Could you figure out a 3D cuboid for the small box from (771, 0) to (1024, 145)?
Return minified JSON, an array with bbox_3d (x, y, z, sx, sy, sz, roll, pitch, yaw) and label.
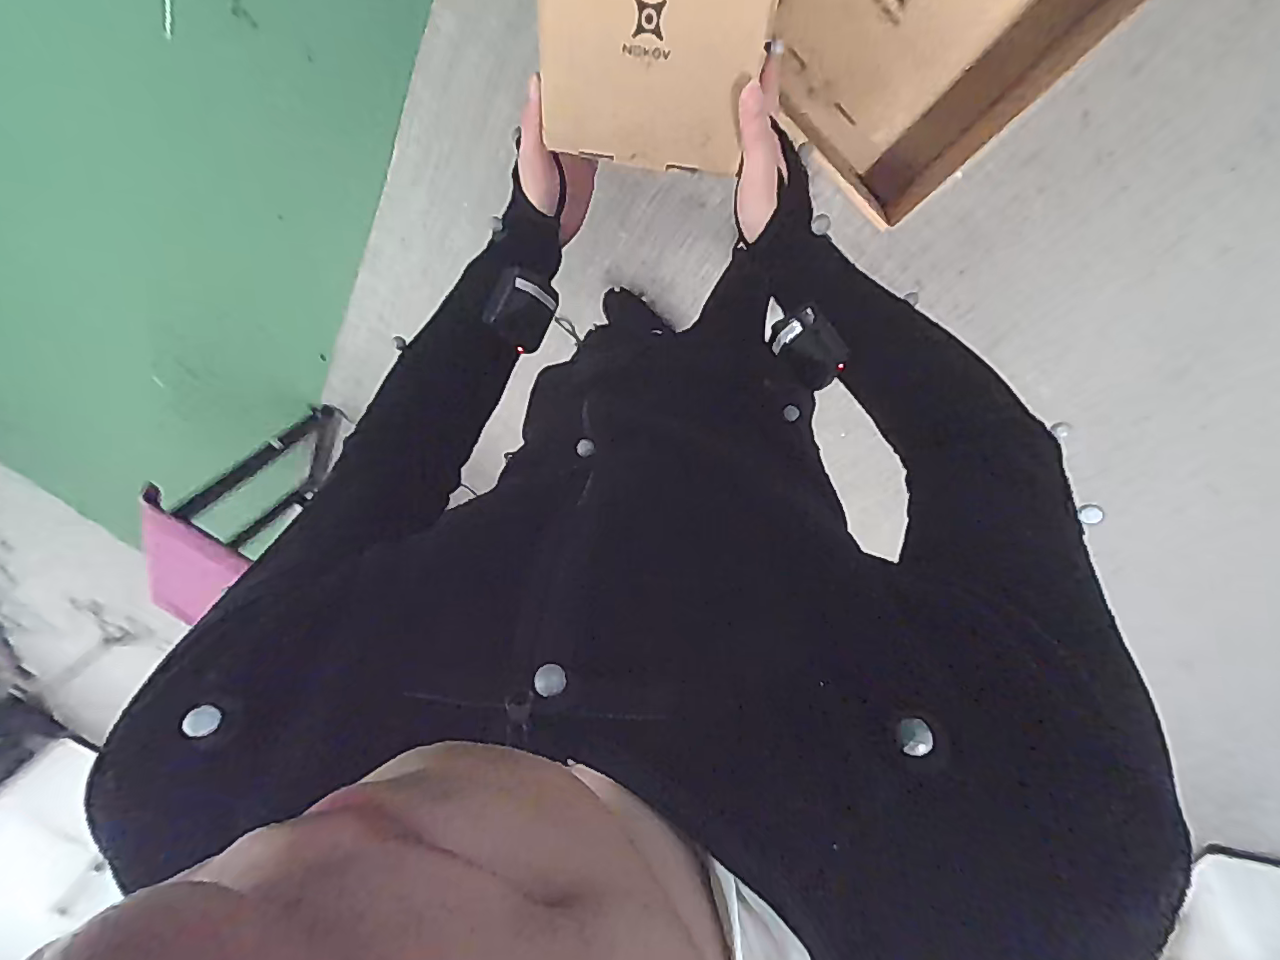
[{"bbox_3d":[0.264,-0.492,0.560,0.168,0.176,0.179,40,130,-13],"label":"small box"}]
